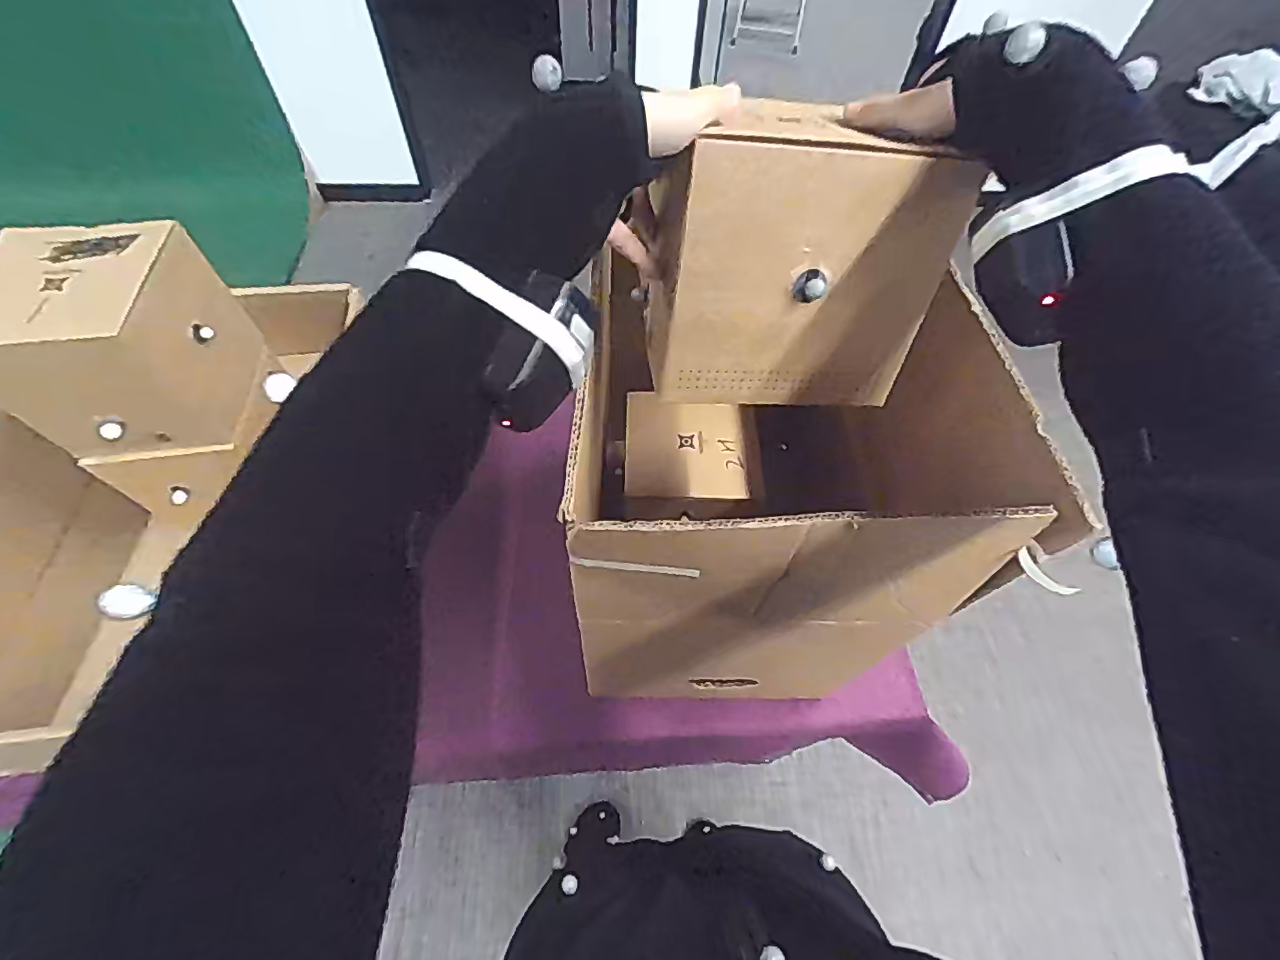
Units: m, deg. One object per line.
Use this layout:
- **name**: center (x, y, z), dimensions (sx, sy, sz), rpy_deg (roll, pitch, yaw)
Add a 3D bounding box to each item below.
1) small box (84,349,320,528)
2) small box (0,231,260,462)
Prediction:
- **small box**: center (-0.560, -0.047, 0.726), dimensions (0.168, 0.176, 0.179), rpy_deg (-7, 58, -6)
- **small box**: center (-0.557, -0.142, 0.590), dimensions (0.168, 0.176, 0.179), rpy_deg (-6, 59, -5)
